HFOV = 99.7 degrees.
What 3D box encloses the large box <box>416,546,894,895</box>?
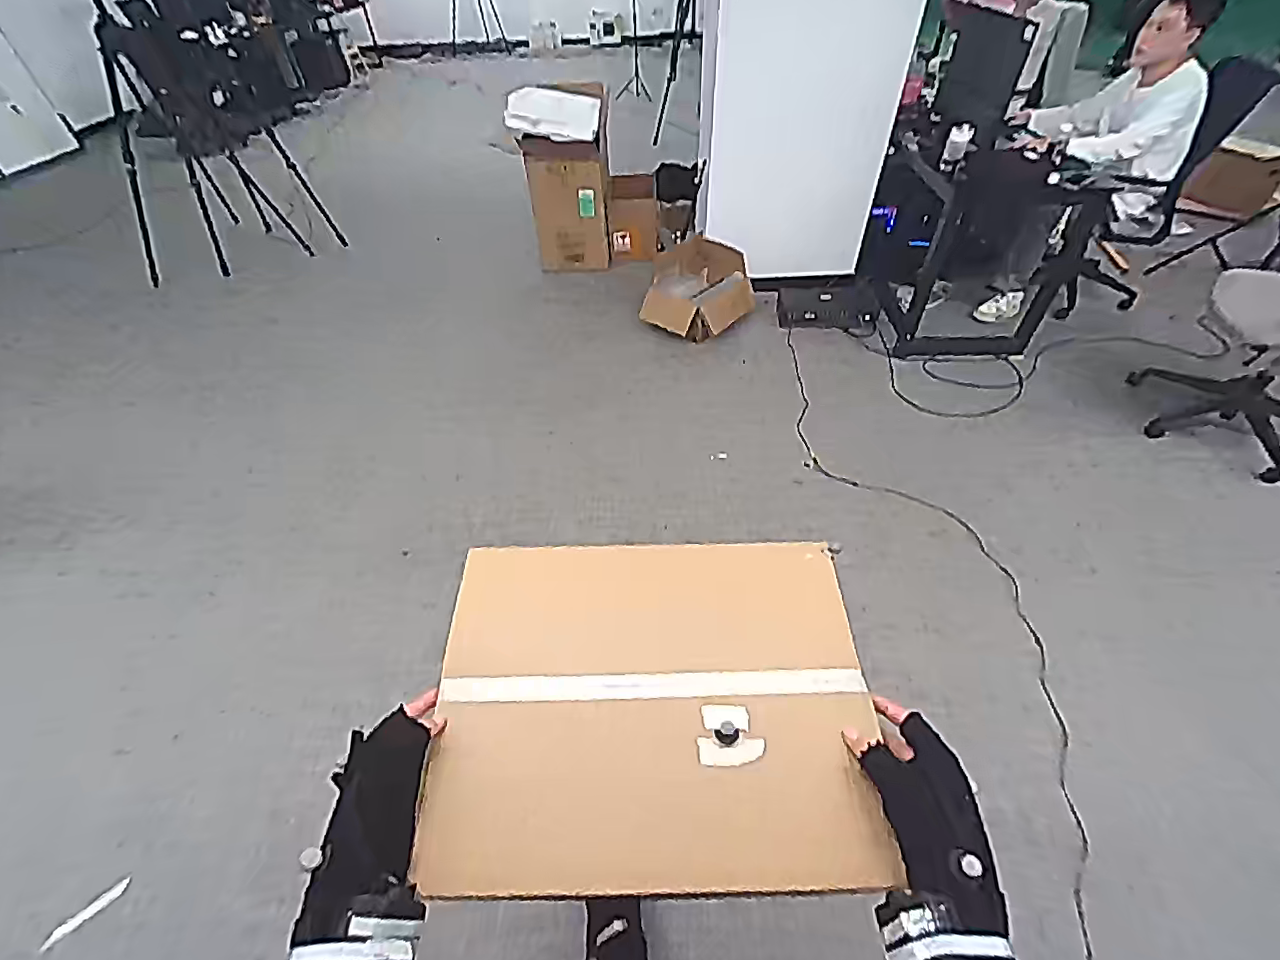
[{"bbox_3d":[0.011,0.294,0.649,0.408,0.320,0.320,-1,52,0],"label":"large box"}]
